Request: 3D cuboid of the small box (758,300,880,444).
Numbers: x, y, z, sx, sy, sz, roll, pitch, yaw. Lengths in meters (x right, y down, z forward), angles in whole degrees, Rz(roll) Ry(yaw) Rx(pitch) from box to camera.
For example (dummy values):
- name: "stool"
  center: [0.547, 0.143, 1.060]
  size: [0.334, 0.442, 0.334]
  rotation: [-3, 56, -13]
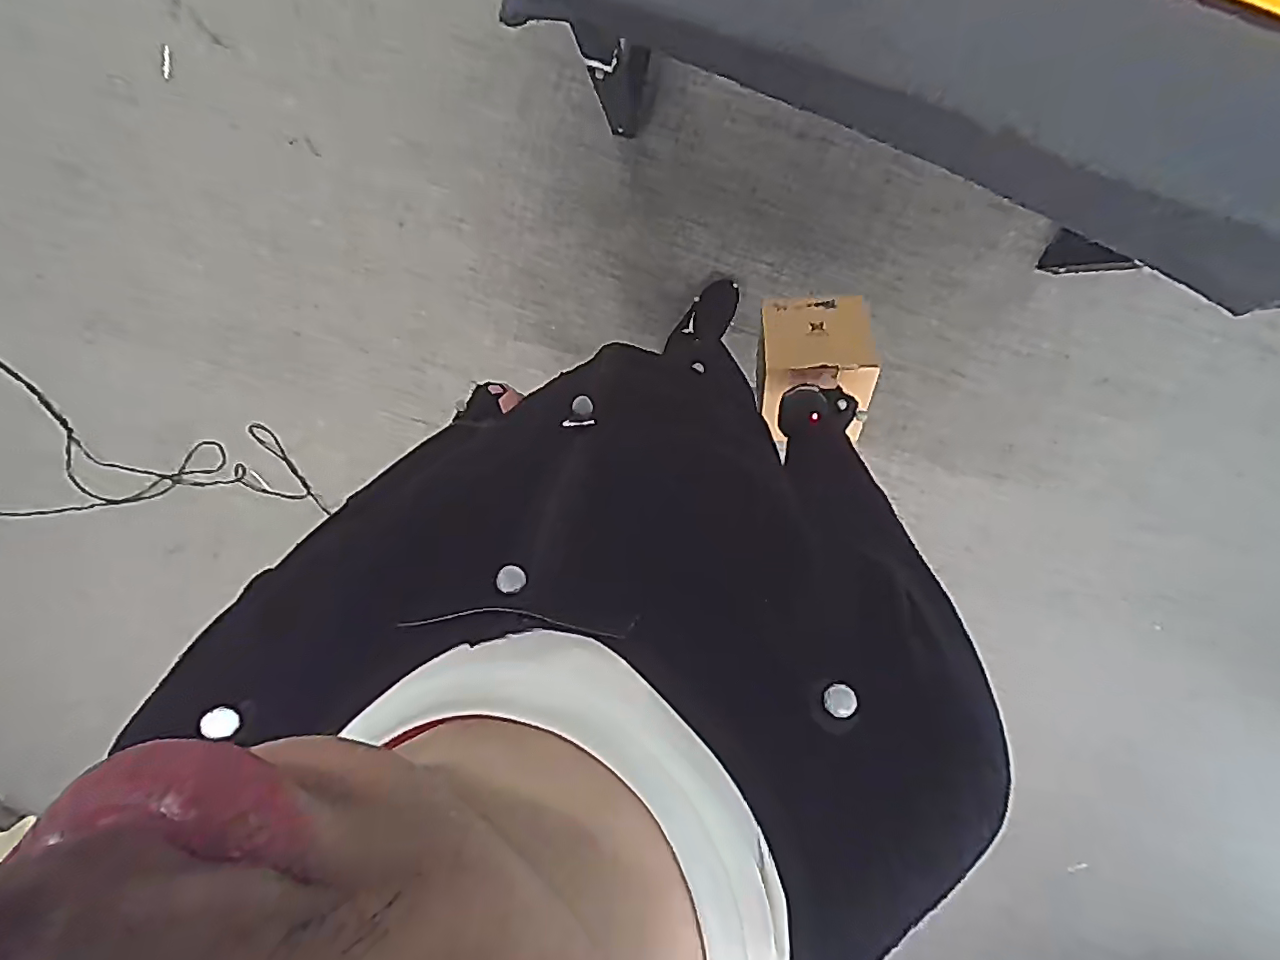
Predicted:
- name: "small box"
  center: [0.290, -0.174, 0.913]
  size: [0.168, 0.179, 0.176]
  rotation: [-4, 141, 9]
